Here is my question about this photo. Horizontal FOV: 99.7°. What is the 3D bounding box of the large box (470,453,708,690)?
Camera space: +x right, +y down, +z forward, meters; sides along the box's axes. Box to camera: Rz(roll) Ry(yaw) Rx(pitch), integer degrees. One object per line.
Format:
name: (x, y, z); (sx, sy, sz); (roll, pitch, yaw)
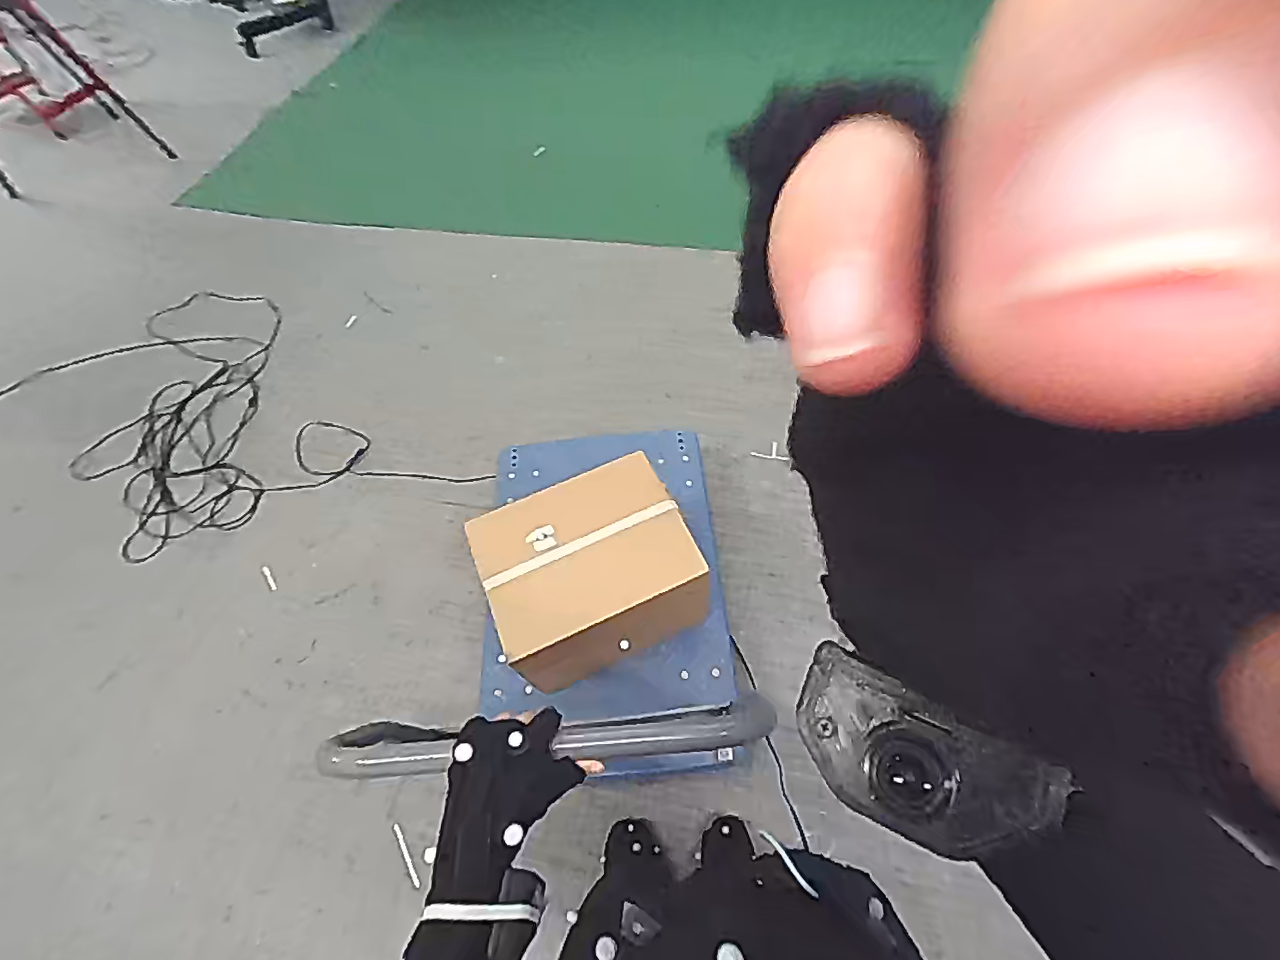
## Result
large box: (-0.098, 0.209, 1.197); (0.408, 0.320, 0.320); (-24, 59, -9)
